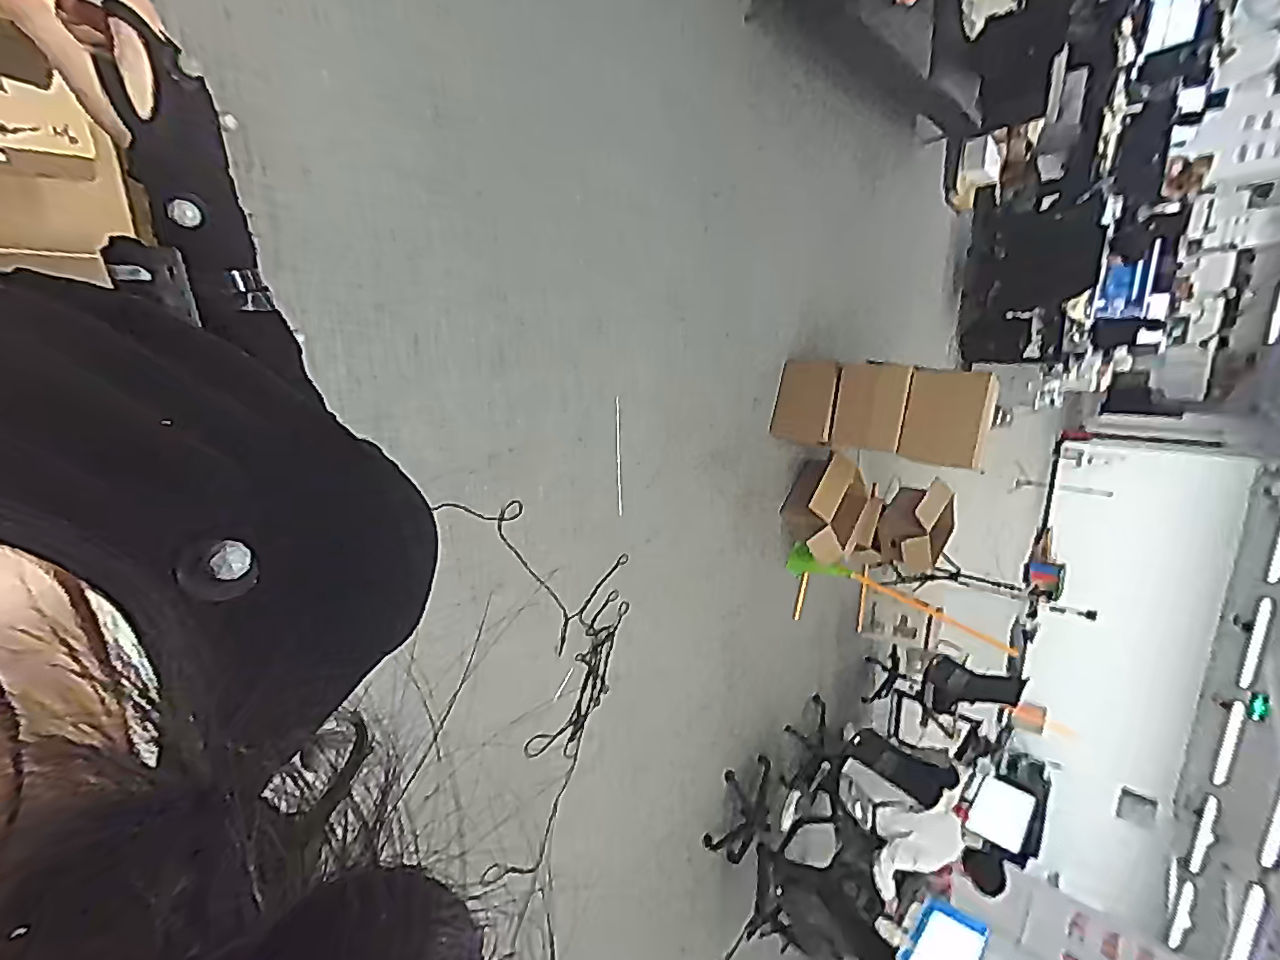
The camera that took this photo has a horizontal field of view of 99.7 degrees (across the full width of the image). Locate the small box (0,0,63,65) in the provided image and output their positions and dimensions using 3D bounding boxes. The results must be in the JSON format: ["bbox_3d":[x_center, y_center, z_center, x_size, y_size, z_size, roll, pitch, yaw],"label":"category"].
[{"bbox_3d":[-0.438,-0.354,0.282,0.179,0.176,0.168,-6,111,-44],"label":"small box"}]

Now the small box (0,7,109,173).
[{"bbox_3d":[-0.896,-0.563,0.770,0.168,0.176,0.179,-16,111,-41],"label":"small box"}]
